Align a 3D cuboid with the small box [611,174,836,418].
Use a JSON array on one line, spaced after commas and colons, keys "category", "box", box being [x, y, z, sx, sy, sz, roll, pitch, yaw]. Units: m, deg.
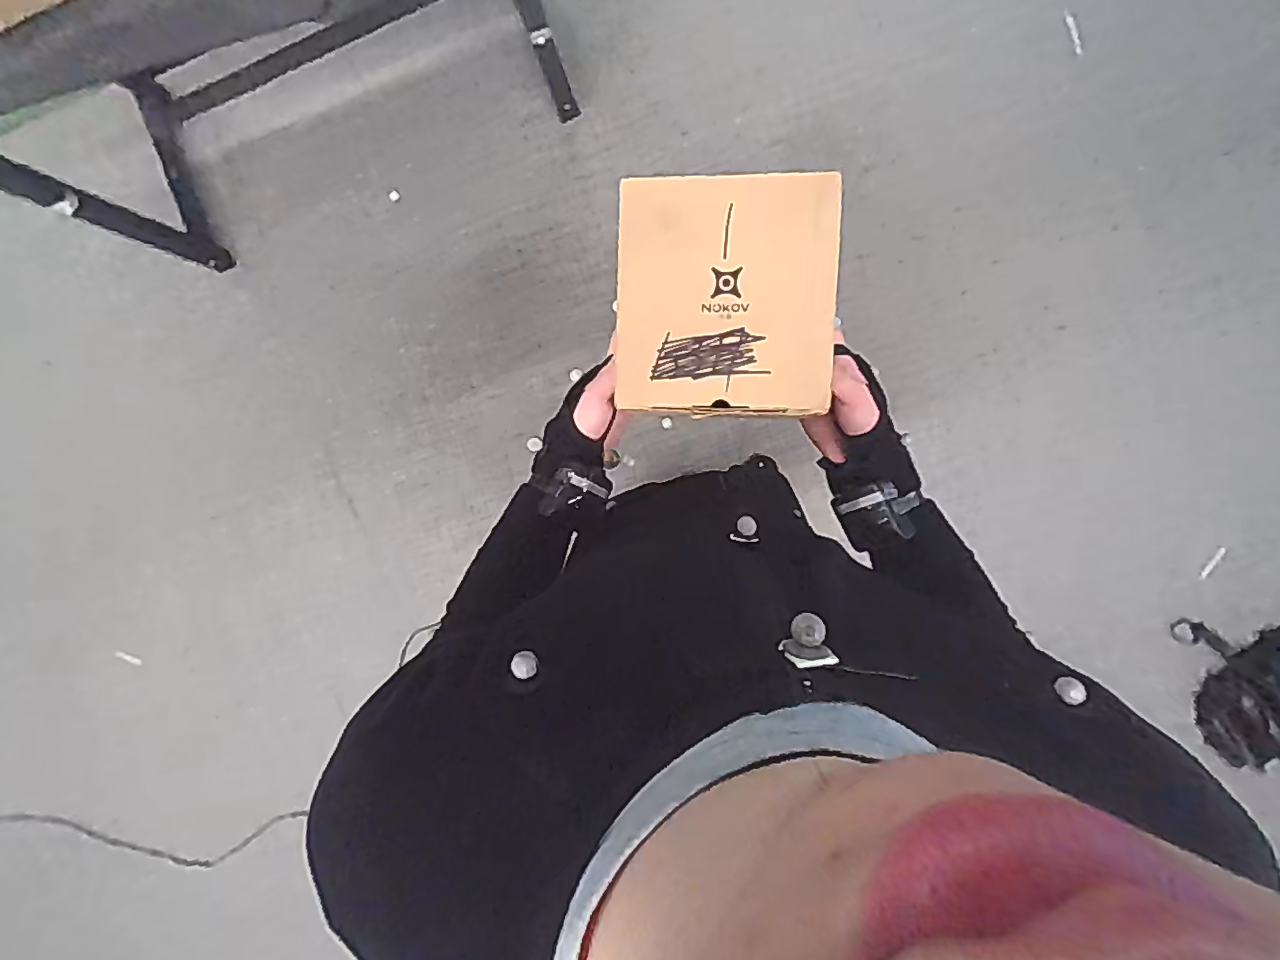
[{"category": "small box", "box": [0.071, -0.146, 0.489, 0.168, 0.176, 0.179, 2, 94, 7]}]
